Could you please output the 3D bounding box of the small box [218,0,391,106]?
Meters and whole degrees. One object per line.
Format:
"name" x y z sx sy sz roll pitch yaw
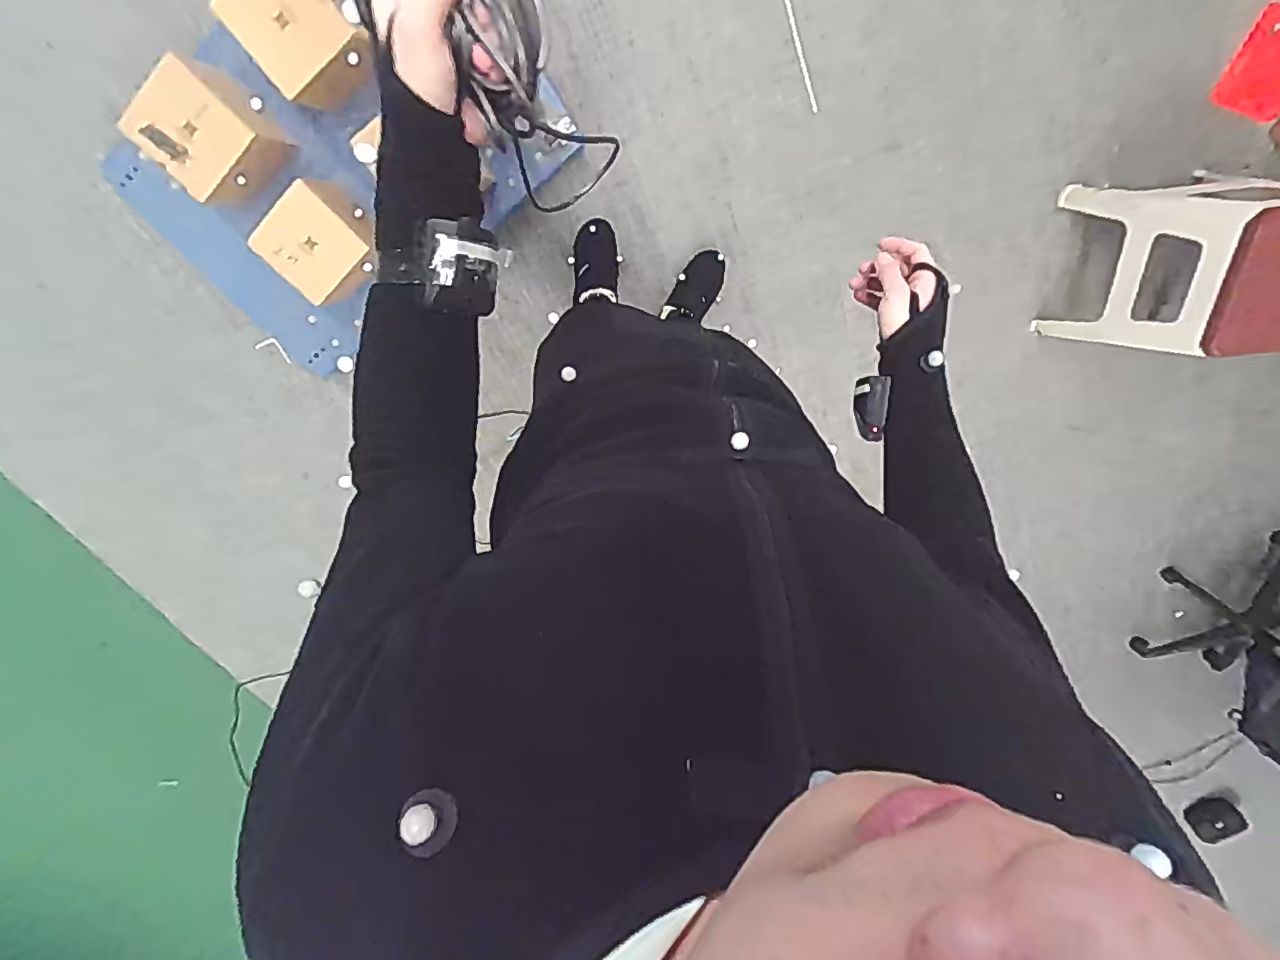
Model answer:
"small box" -0.593 -0.824 0.983 0.179 0.176 0.168 -34 114 13

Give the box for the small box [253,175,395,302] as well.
"small box" -0.648 -0.509 1.139 0.179 0.176 0.168 -37 112 15

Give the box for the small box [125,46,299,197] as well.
"small box" -0.810 -0.675 1.046 0.179 0.176 0.168 -38 113 14
